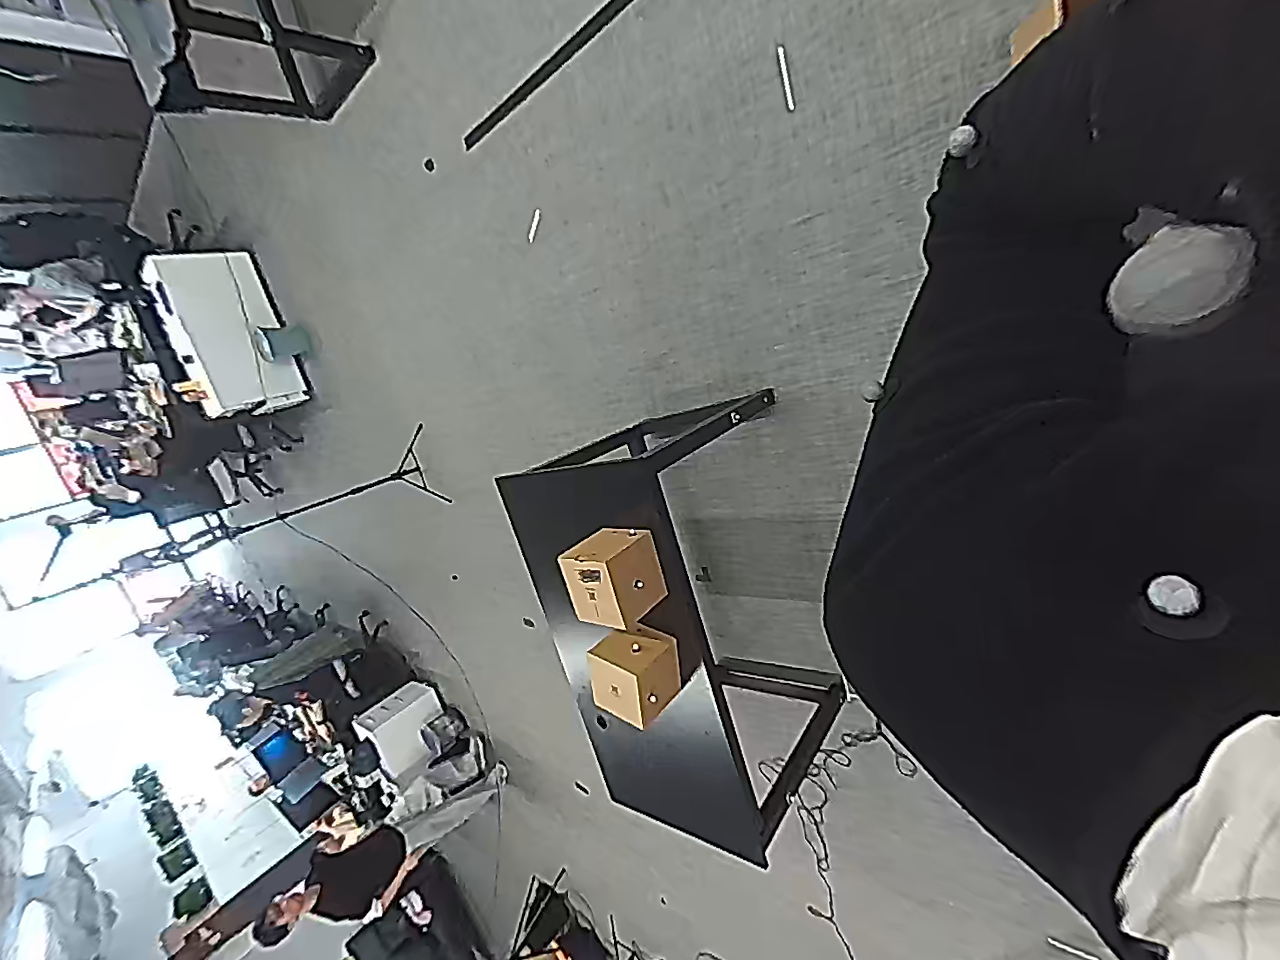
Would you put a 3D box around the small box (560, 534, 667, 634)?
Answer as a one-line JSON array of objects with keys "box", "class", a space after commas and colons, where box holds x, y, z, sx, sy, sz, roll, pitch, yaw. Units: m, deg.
[{"box": [-0.060, 0.240, 1.306, 0.168, 0.176, 0.179, -3, 110, 42], "class": "small box"}]

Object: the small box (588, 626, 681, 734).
[{"box": [-0.010, 0.502, 1.392, 0.168, 0.176, 0.179, 11, 118, 38], "class": "small box"}]
